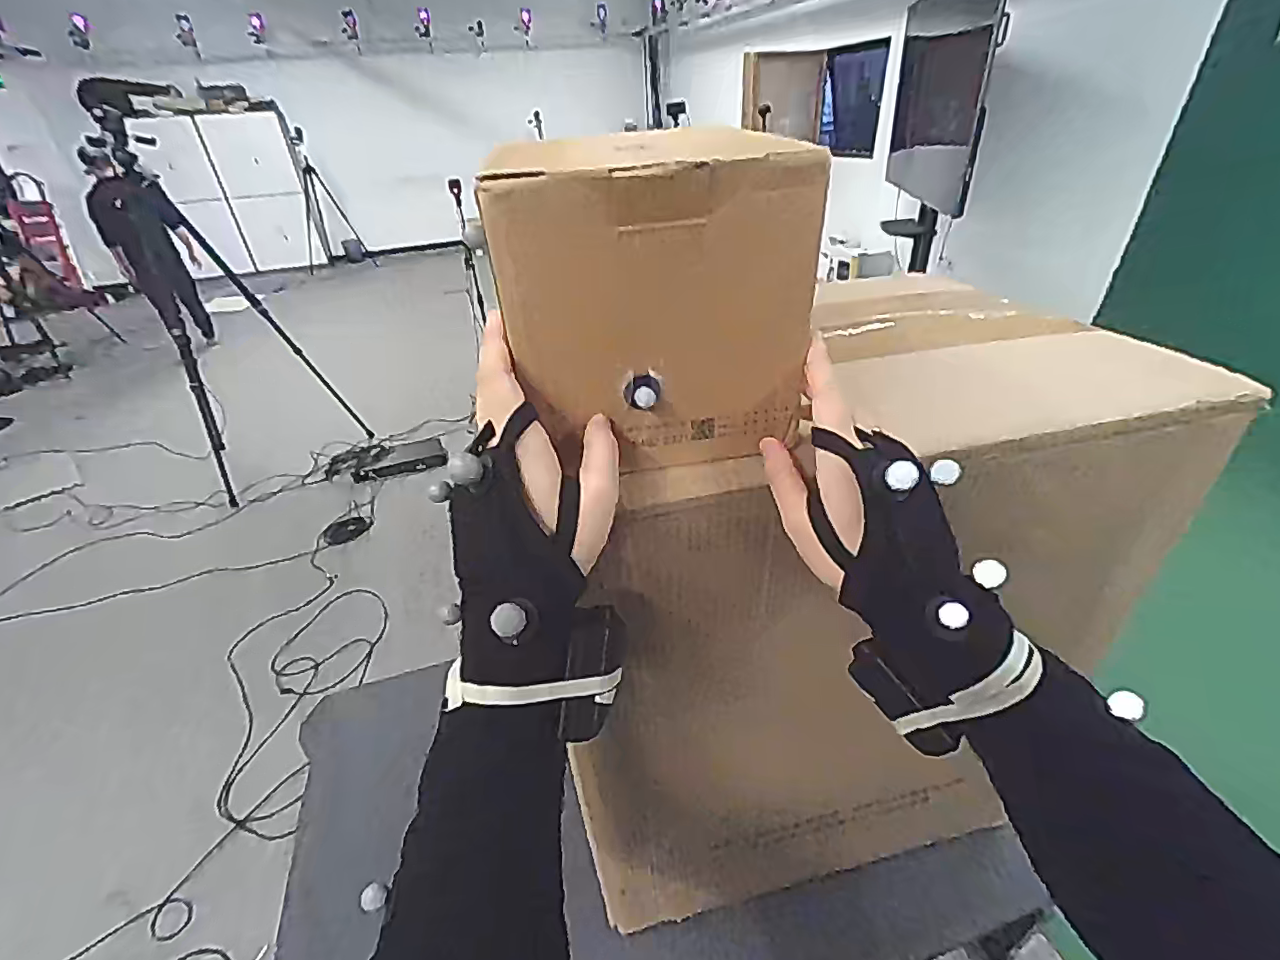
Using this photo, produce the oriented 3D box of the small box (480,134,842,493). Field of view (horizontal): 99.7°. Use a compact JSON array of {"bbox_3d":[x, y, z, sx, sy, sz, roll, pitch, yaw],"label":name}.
[{"bbox_3d":[0.002,-0.114,0.351,0.168,0.176,0.179,-8,38,-6],"label":"small box"}]
